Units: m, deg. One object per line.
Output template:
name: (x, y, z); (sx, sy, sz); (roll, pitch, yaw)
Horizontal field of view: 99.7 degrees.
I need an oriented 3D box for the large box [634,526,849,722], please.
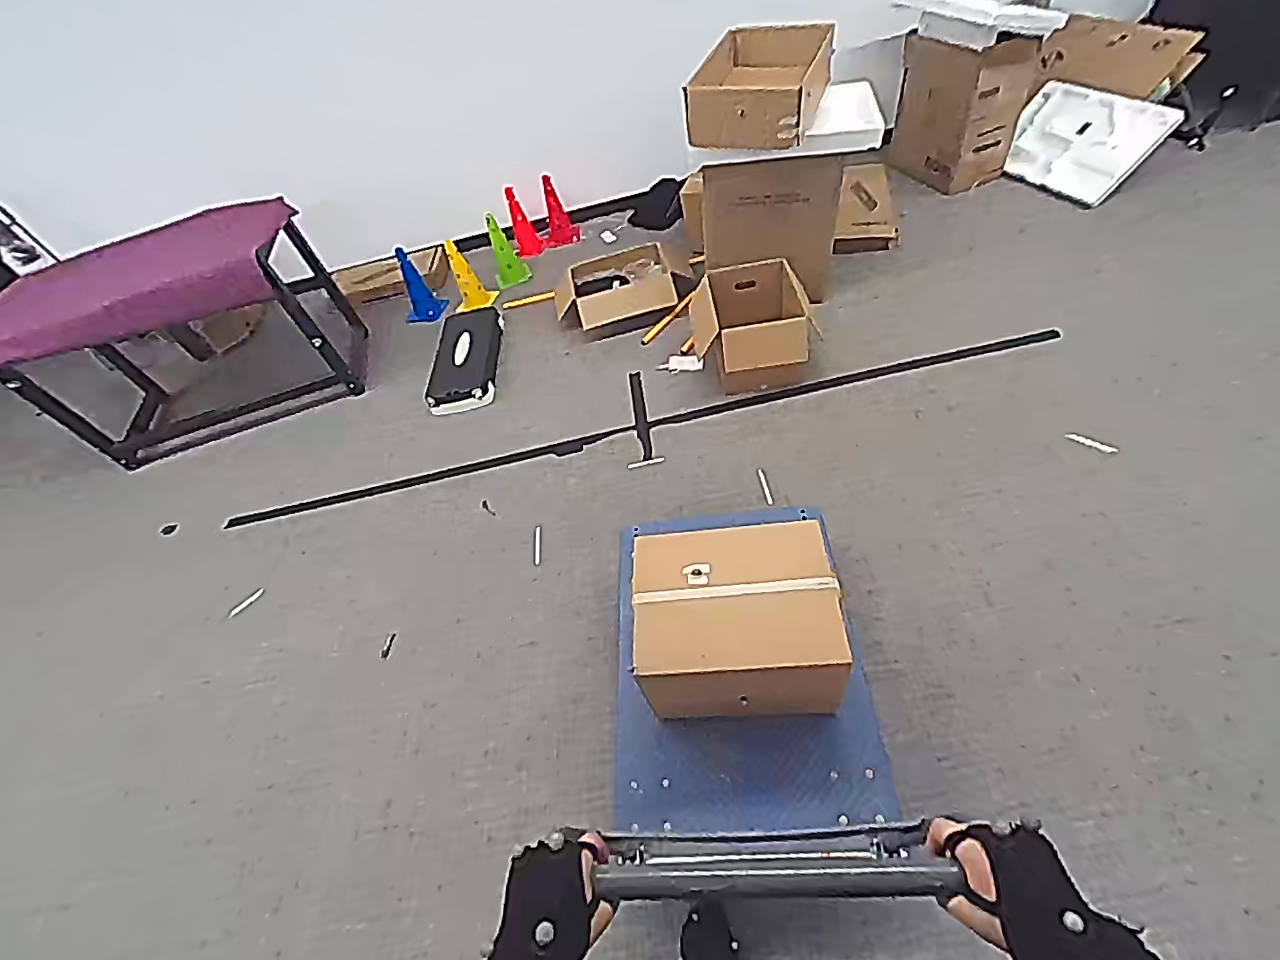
large box: (0.215, 0.334, 1.214); (0.408, 0.320, 0.320); (-7, 50, 9)
